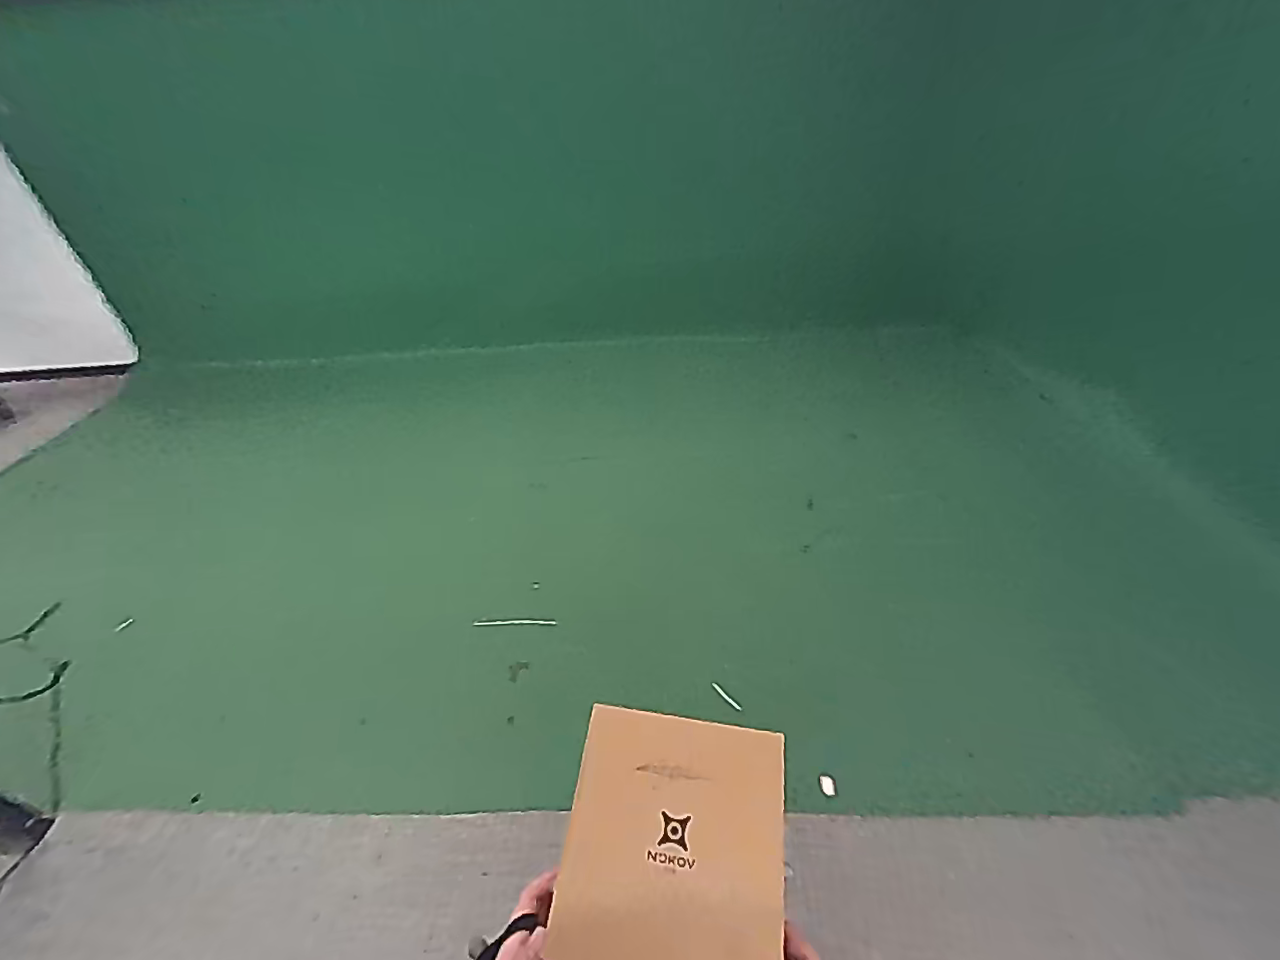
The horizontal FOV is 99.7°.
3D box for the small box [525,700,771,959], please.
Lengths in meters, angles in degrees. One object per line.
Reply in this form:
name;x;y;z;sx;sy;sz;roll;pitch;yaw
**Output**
small box;0.018;0.318;0.470;0.168;0.176;0.179;7;50;7
